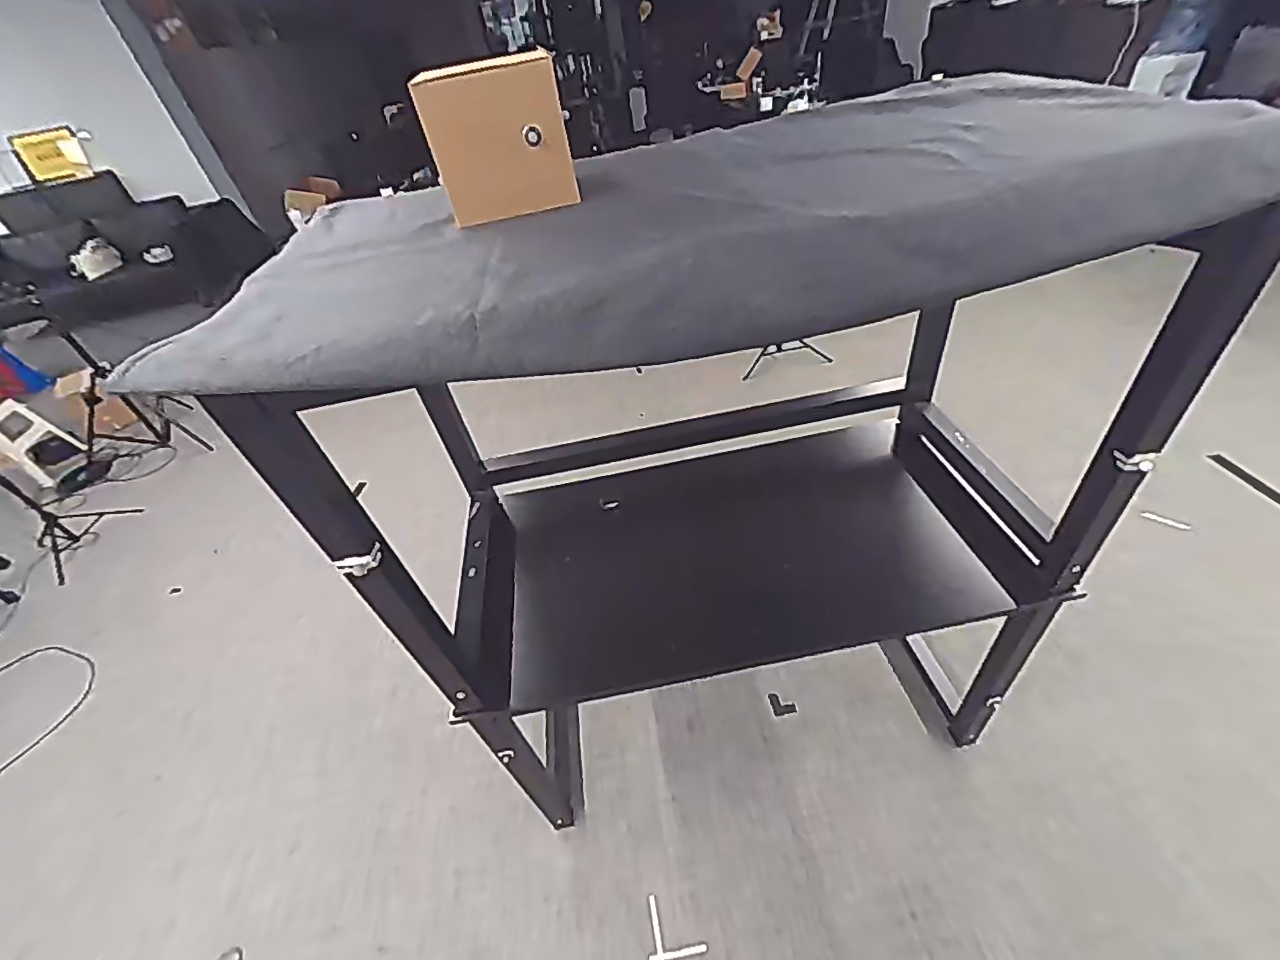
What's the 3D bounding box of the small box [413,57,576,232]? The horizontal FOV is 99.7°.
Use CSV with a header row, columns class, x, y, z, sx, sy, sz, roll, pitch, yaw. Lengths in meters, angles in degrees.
class,x,y,z,sx,sy,sz,roll,pitch,yaw
small box,-0.192,-0.470,0.759,0.179,0.176,0.168,-13,42,-3
